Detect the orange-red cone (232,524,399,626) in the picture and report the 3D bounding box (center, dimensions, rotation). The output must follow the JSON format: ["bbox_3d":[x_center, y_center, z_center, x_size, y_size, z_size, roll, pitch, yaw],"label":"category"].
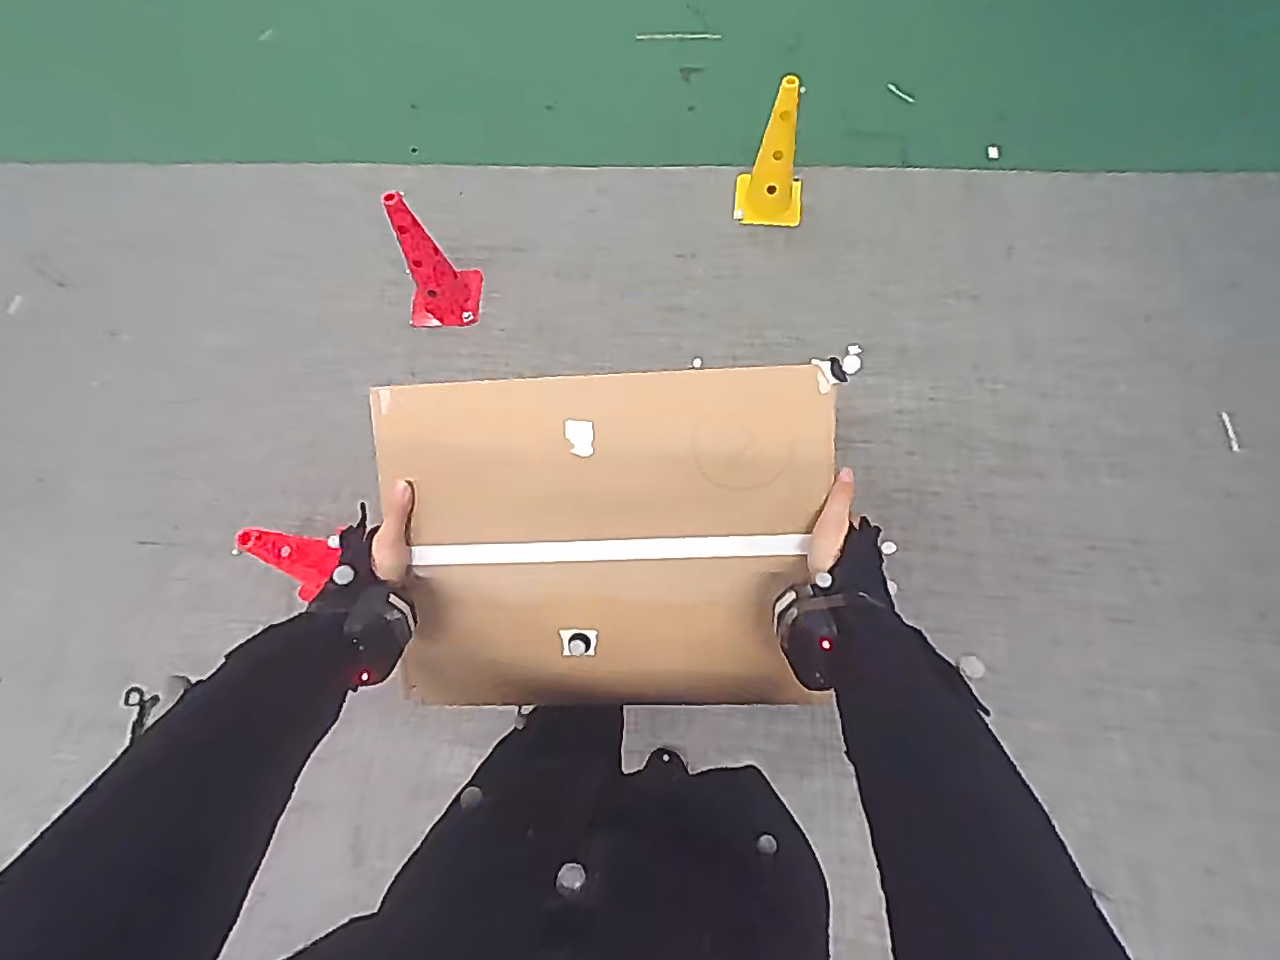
[{"bbox_3d":[-0.721,0.167,1.156,0.199,0.360,0.198,21,70,14],"label":"orange-red cone"}]

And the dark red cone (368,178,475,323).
[{"bbox_3d":[-0.597,-0.611,1.434,0.202,0.394,0.201,-4,65,3],"label":"dark red cone"}]
